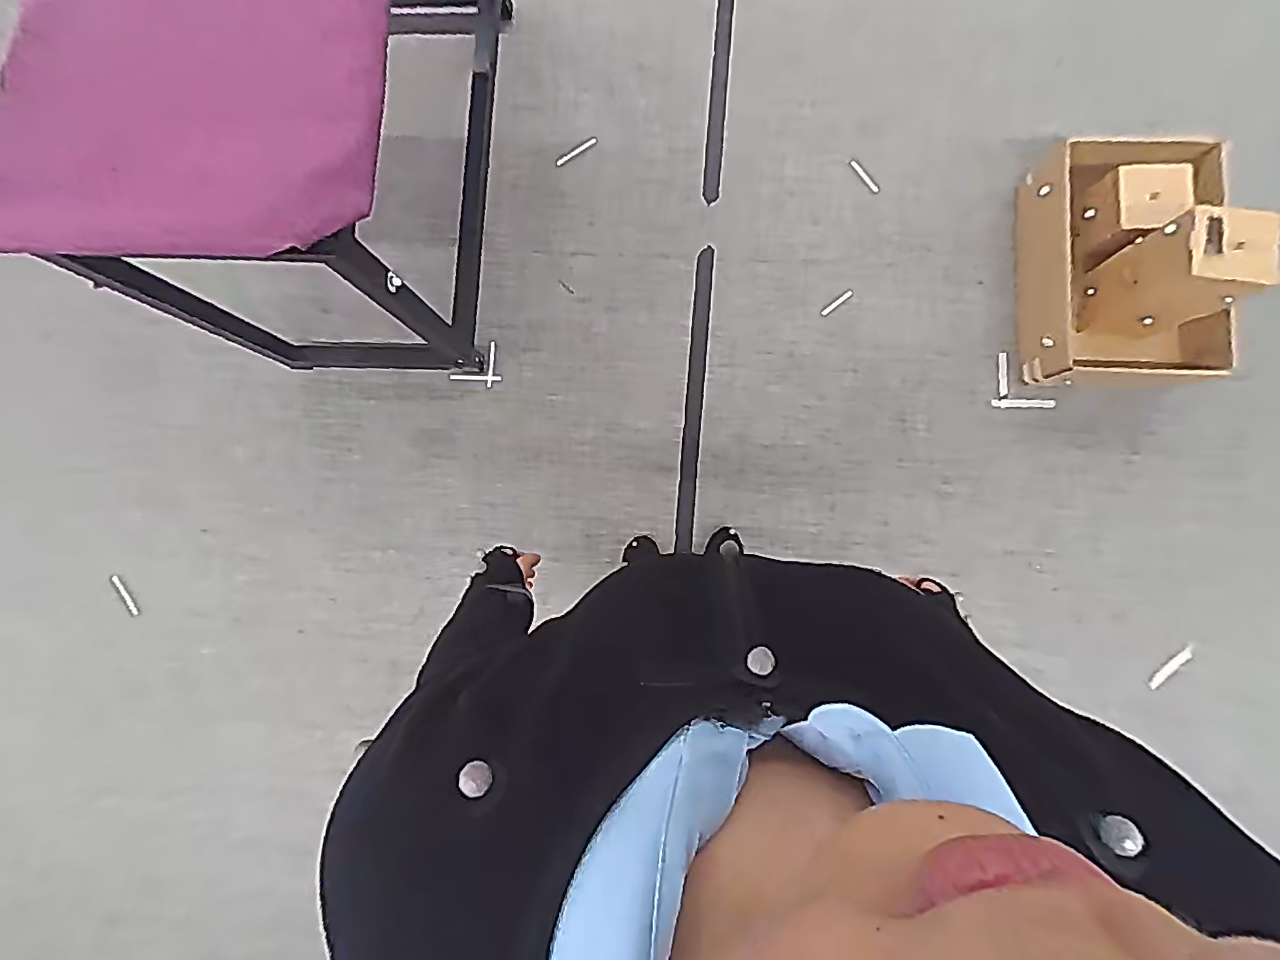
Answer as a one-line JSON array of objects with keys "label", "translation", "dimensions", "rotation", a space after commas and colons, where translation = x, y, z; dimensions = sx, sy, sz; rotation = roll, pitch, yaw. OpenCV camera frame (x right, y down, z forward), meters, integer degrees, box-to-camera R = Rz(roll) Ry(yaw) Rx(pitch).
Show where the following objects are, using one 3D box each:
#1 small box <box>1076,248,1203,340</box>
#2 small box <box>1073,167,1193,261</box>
[{"label": "small box", "translation": [1.287, -0.474, 1.401], "dimensions": [0.179, 0.176, 0.168], "rotation": [7, 83, 4]}, {"label": "small box", "translation": [1.279, -0.690, 1.416], "dimensions": [0.179, 0.176, 0.168], "rotation": [1, 87, 3]}]
